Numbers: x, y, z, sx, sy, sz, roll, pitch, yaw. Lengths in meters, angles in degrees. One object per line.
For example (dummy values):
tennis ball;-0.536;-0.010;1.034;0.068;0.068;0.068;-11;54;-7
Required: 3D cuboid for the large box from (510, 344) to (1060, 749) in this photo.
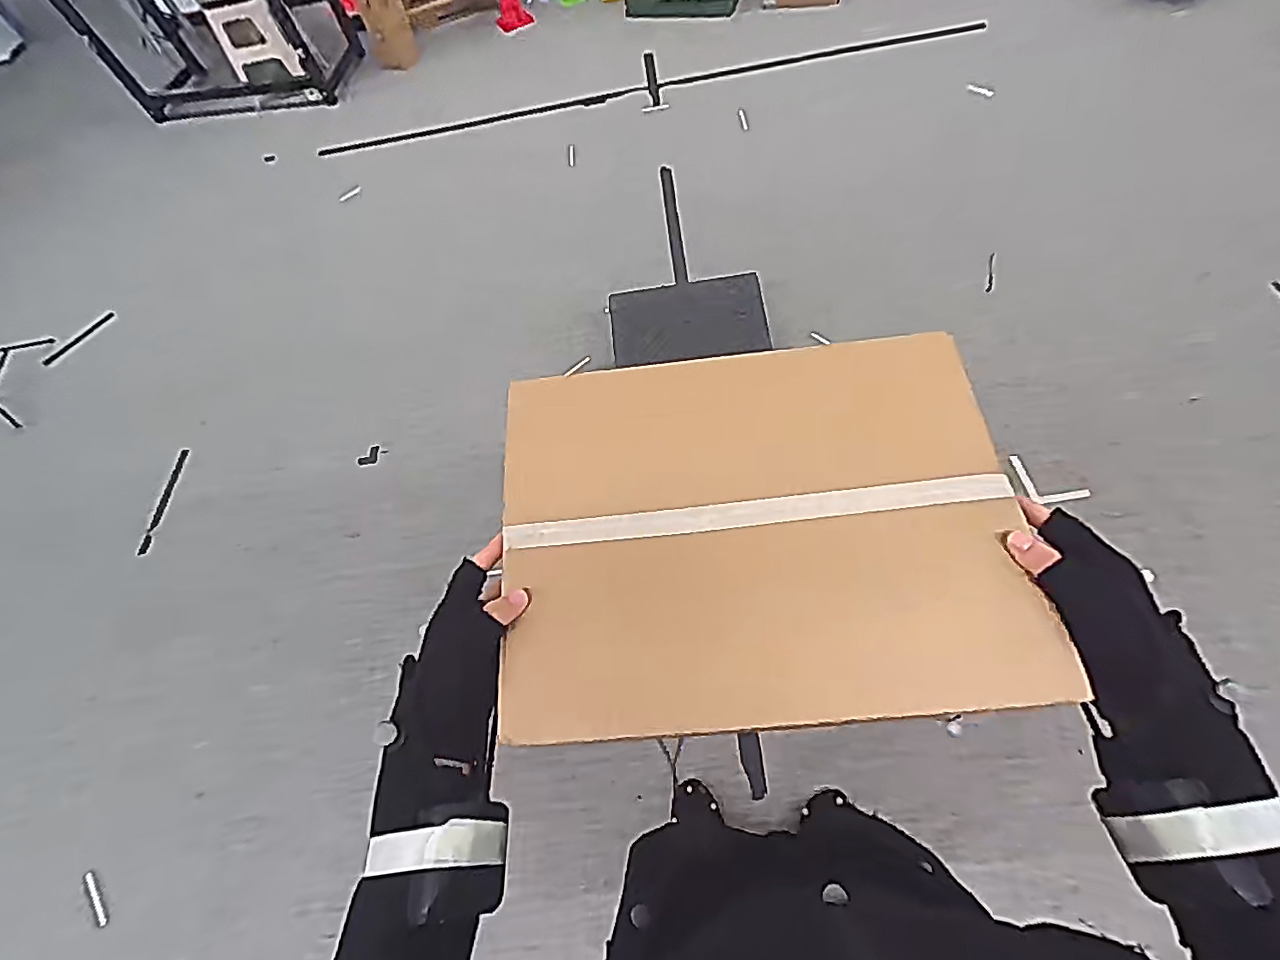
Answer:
large box;0.104;0.095;0.584;0.408;0.320;0.320;-7;64;4
